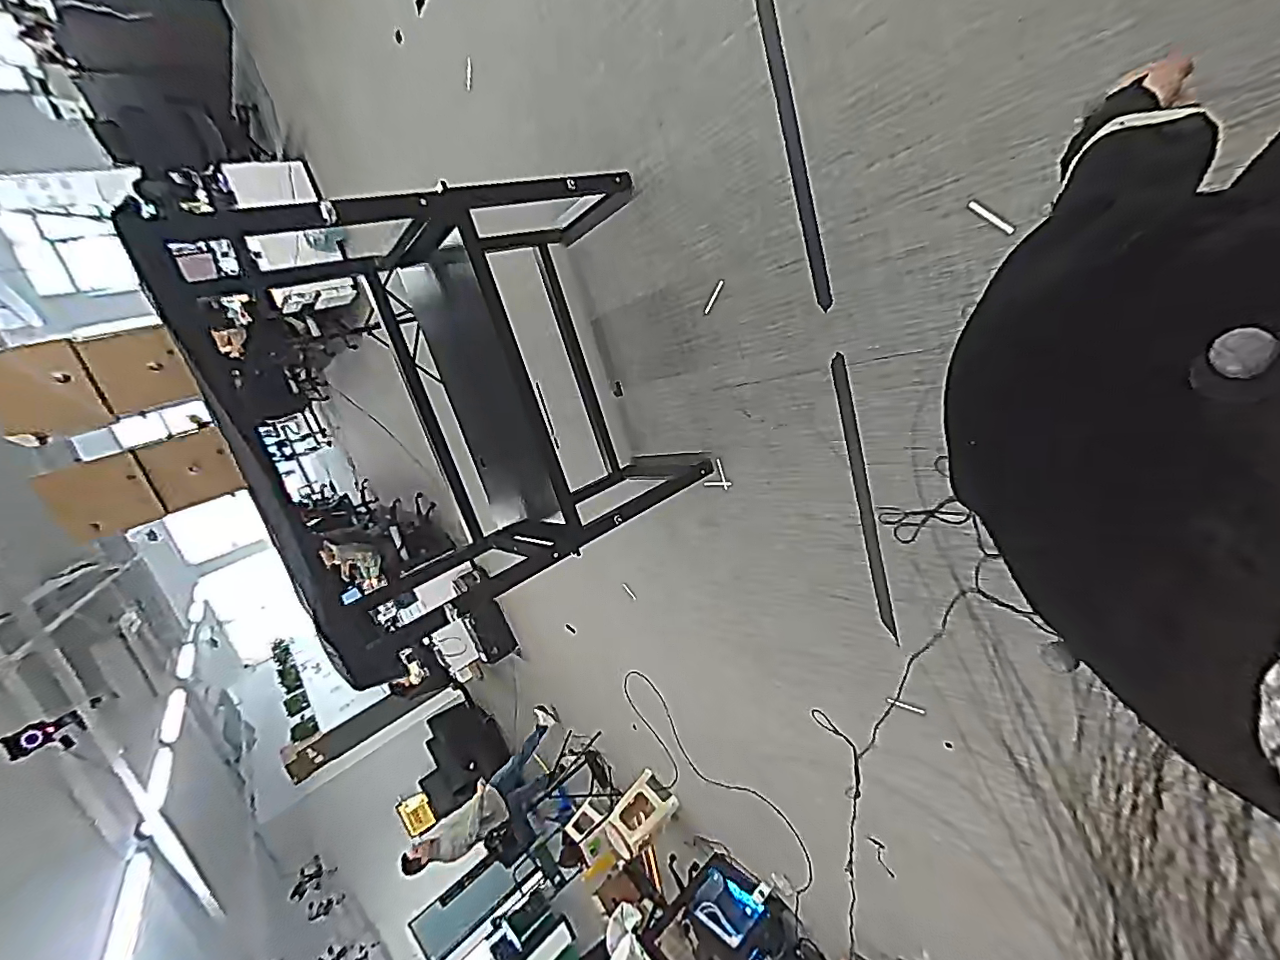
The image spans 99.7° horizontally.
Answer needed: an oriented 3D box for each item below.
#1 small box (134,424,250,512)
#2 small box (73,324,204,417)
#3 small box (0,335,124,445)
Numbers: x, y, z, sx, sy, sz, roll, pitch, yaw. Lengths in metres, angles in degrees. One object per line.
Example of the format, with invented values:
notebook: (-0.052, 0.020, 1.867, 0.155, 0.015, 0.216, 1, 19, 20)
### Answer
small box: (-1.089, -0.036, 1.328, 0.179, 0.176, 0.168, 6, 117, 52)
small box: (-1.156, -0.254, 1.265, 0.179, 0.176, 0.168, 3, 116, 53)
small box: (-1.273, -0.191, 1.163, 0.168, 0.176, 0.179, -3, 109, 55)
